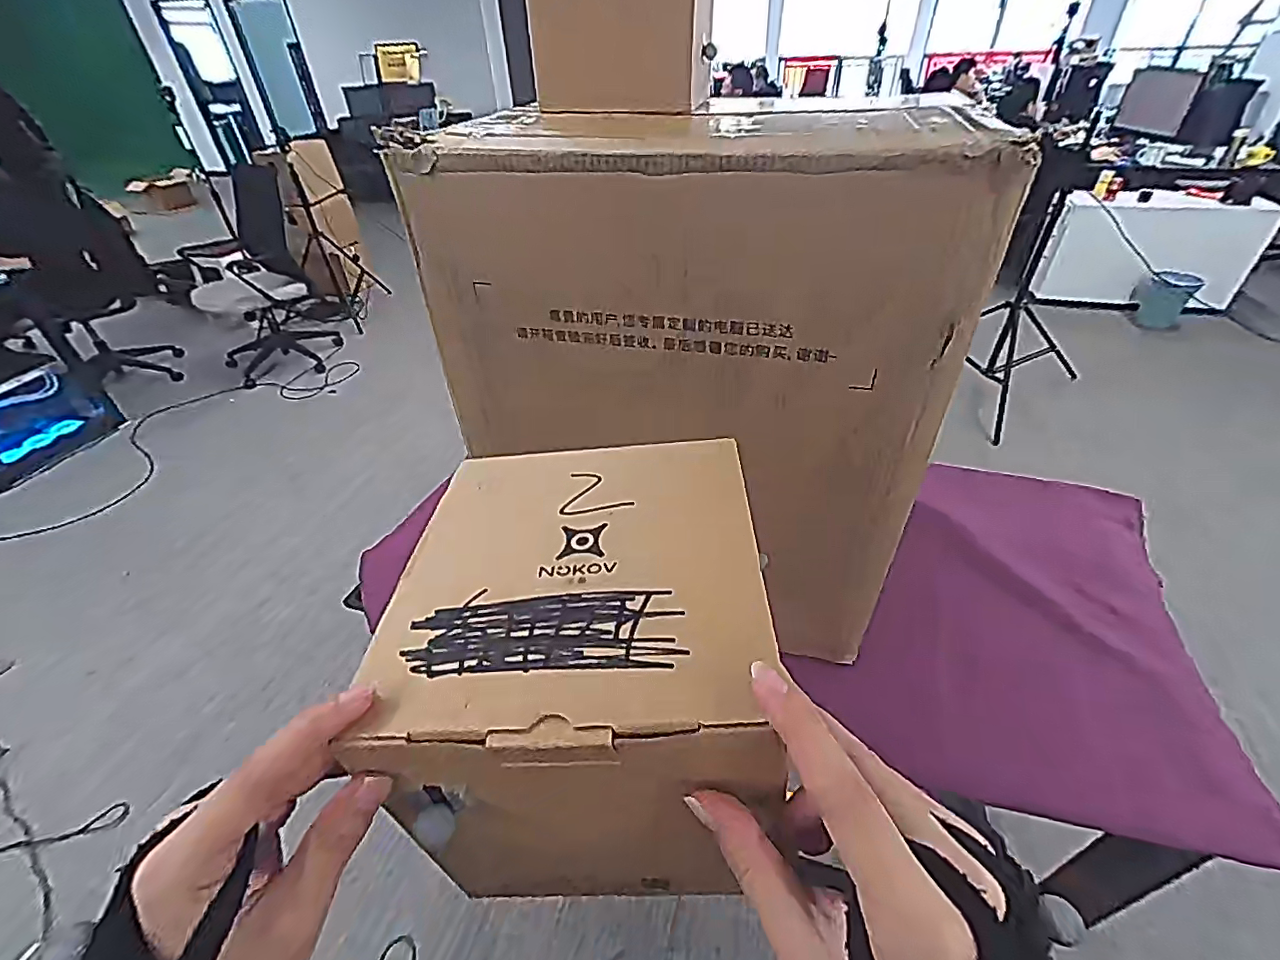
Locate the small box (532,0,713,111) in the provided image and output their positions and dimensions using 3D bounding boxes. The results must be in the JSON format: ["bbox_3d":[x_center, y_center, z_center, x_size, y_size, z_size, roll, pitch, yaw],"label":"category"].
[{"bbox_3d":[-0.015,-0.517,0.600,0.179,0.176,0.168,8,40,10],"label":"small box"}]
